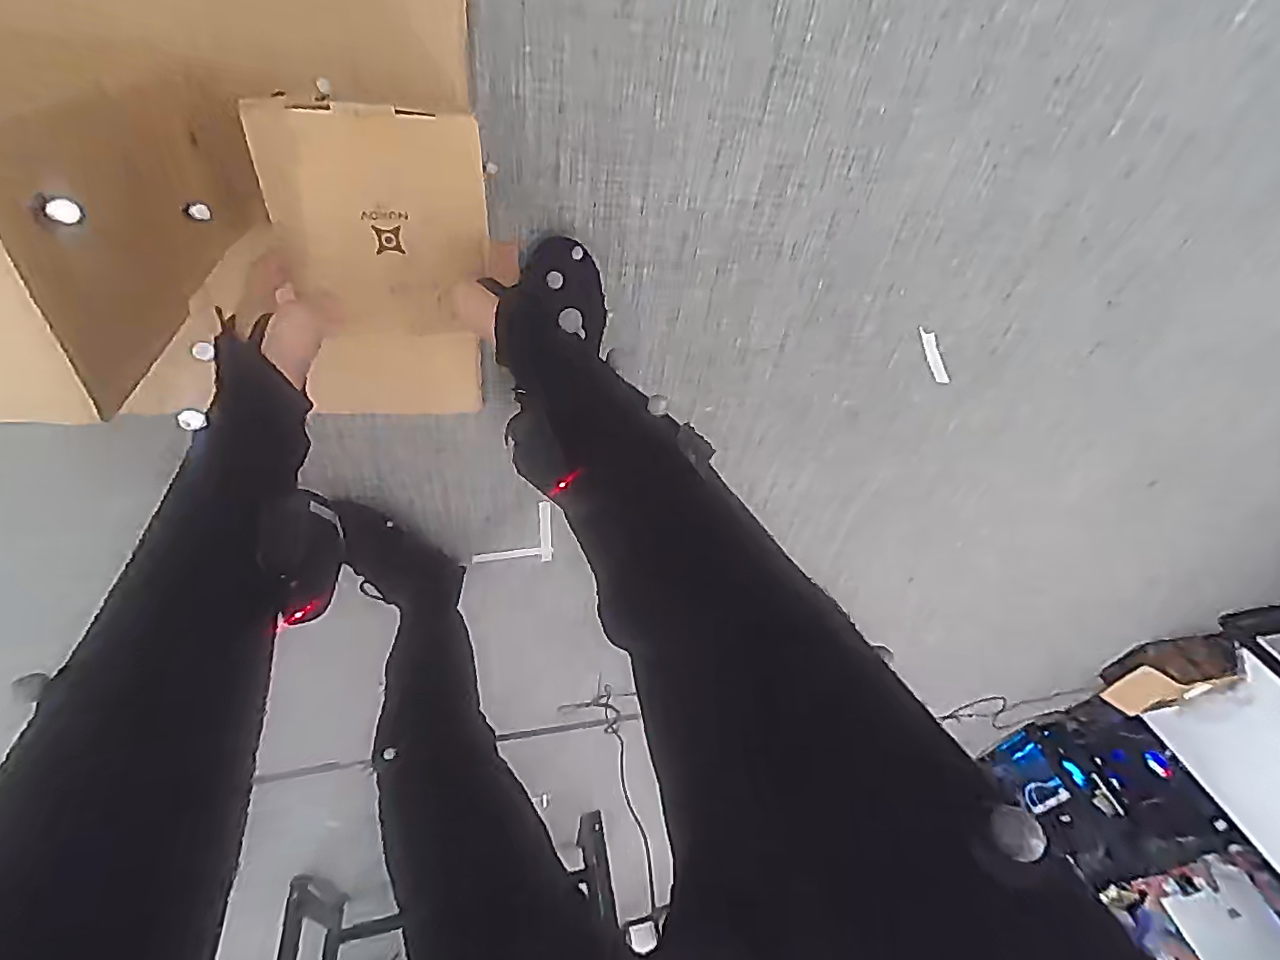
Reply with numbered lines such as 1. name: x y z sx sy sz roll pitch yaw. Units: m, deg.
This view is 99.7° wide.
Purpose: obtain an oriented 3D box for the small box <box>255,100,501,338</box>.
1. small box: -0.228 -0.249 0.515 0.168 0.176 0.179 -6 126 -15
